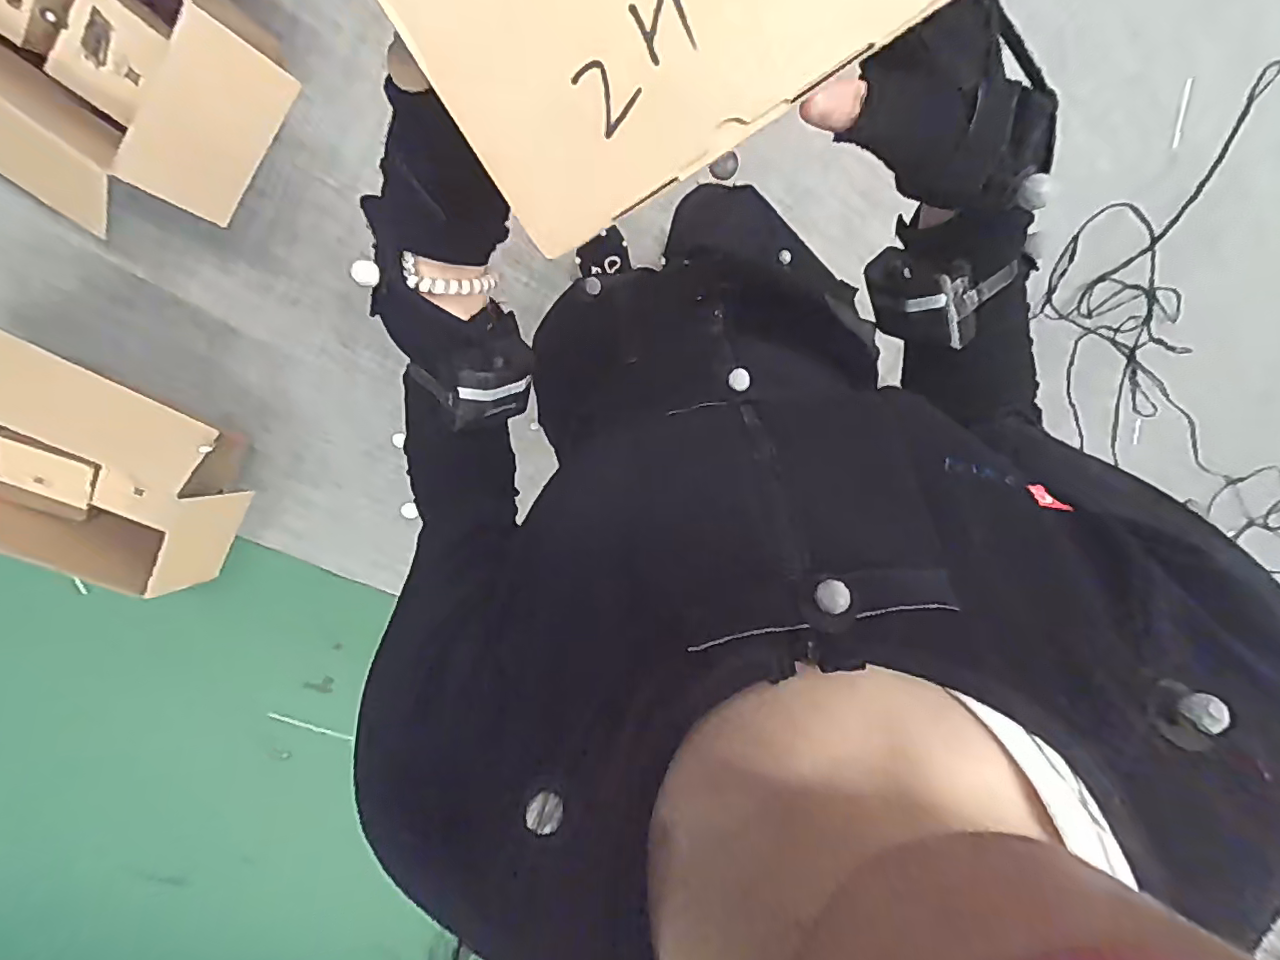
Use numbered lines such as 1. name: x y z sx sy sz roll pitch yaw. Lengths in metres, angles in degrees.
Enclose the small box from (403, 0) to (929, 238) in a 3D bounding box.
1. small box: -0.004 -0.232 0.222 0.168 0.176 0.179 -26 117 18
